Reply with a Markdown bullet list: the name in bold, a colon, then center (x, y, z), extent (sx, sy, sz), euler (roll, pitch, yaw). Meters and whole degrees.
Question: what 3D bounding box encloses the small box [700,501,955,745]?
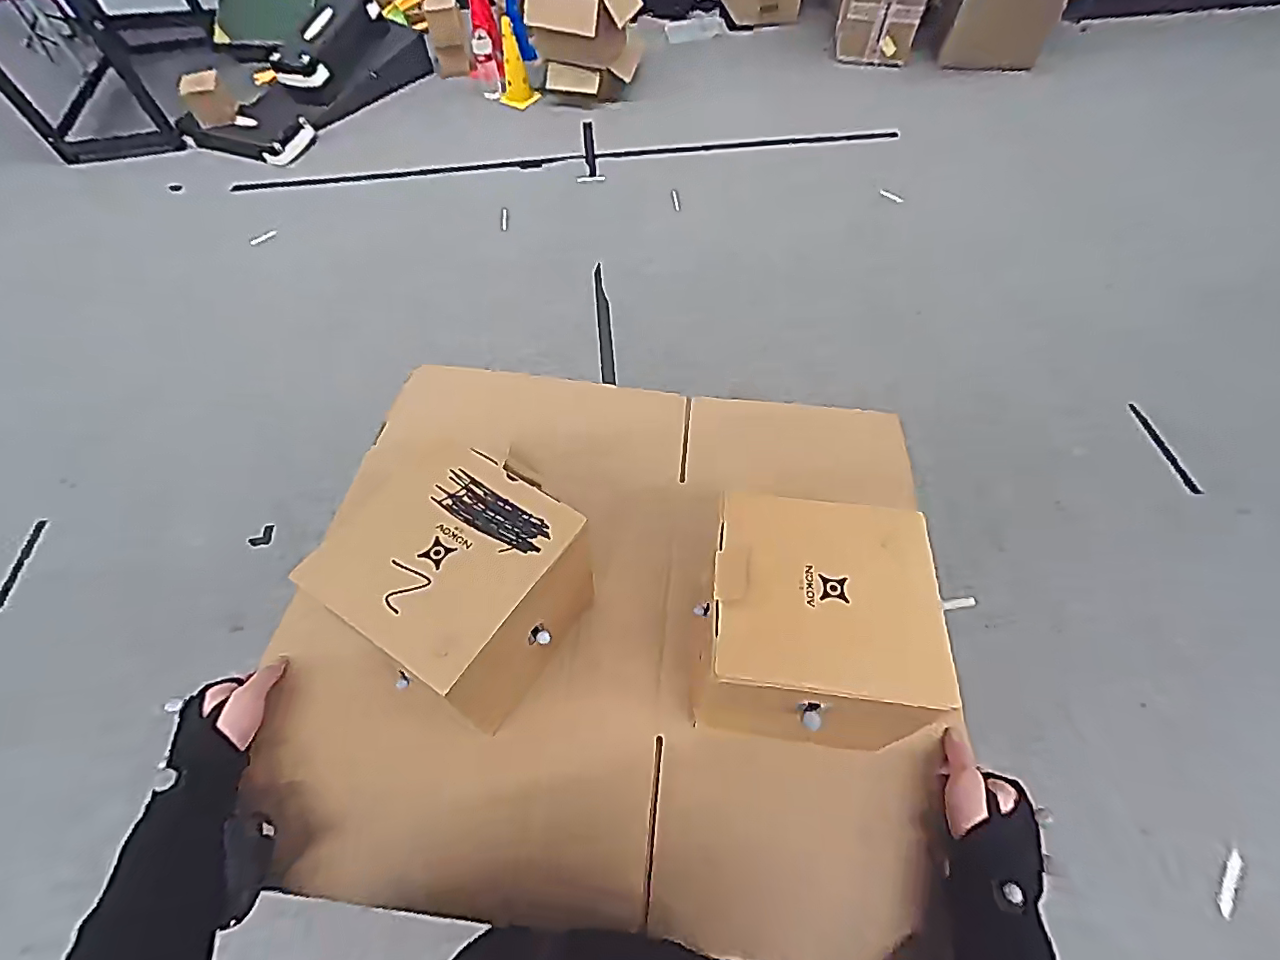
- **small box**: center (0.156, 0.141, 0.510), extent (0.179, 0.176, 0.168), euler (5, 54, 5)
